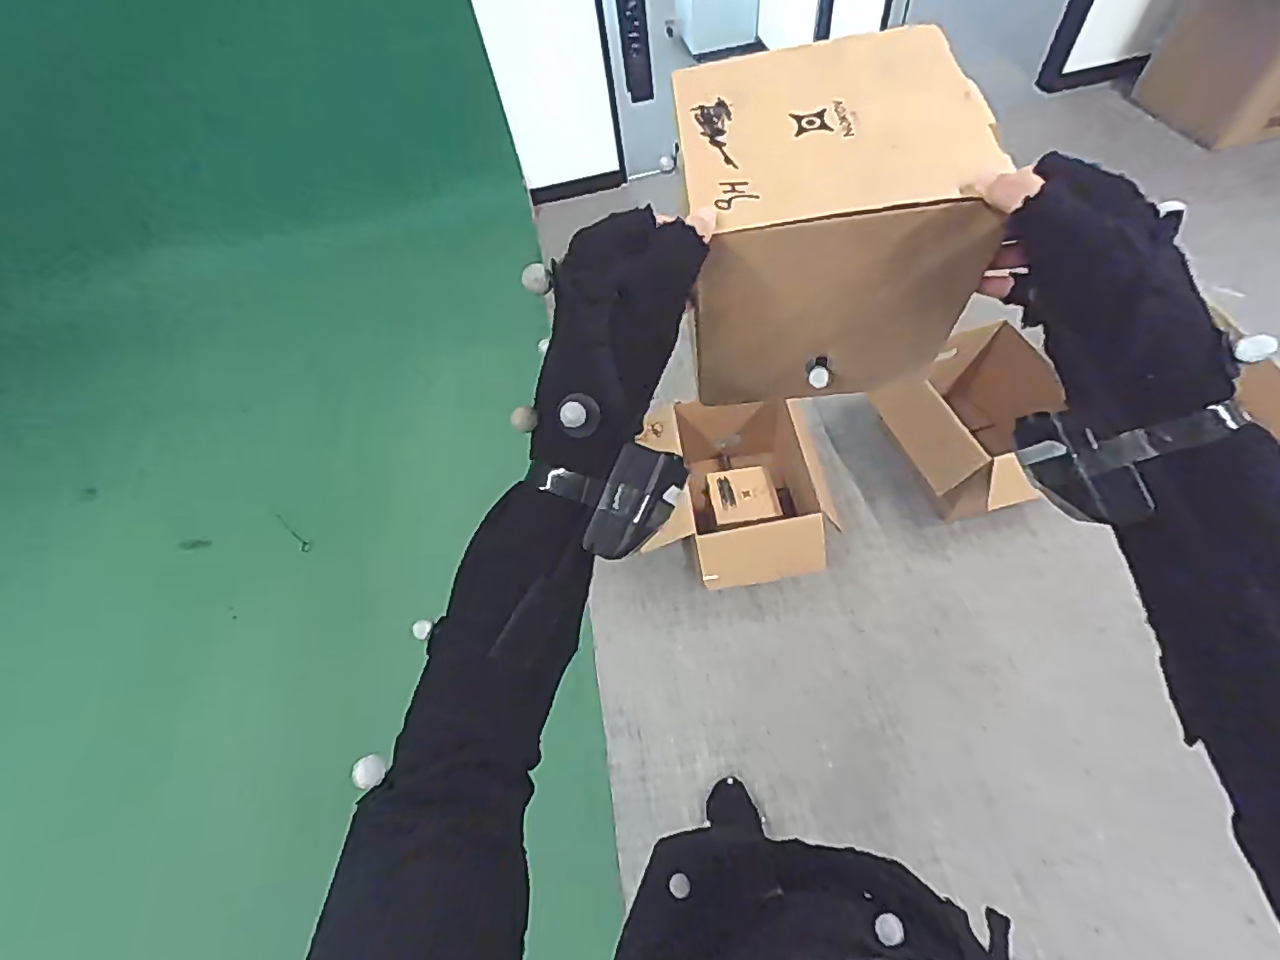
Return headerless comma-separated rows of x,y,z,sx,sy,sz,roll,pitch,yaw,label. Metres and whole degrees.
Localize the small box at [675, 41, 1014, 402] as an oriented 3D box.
0.118,-0.174,0.397,0.179,0.176,0.168,-4,62,4,small box
